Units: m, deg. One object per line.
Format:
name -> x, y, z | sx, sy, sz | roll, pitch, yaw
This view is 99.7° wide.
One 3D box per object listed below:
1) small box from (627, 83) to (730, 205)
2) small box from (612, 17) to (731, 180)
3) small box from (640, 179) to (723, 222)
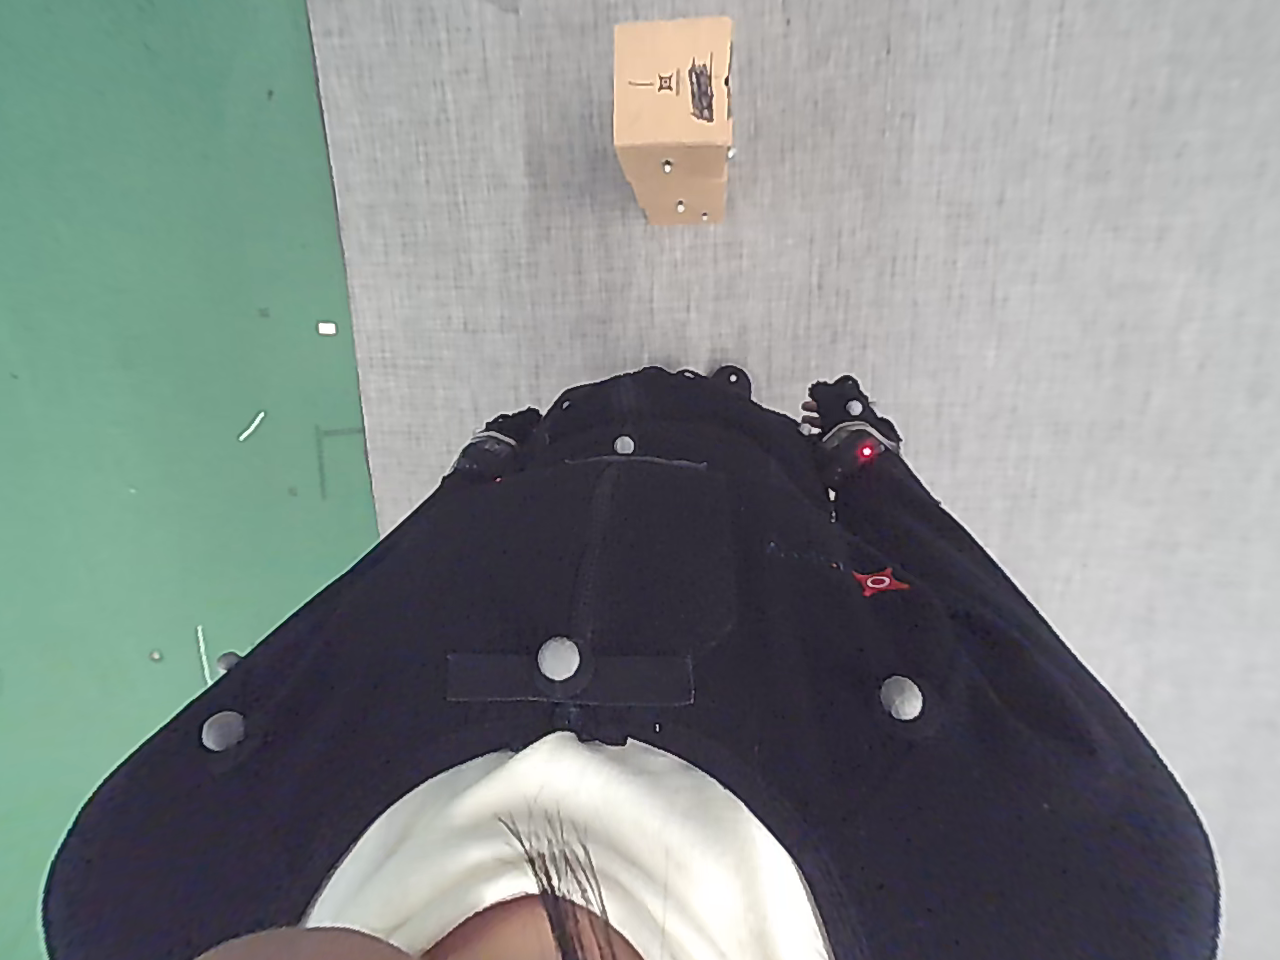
small box -> 0.075, -0.642, 1.043 | 0.179, 0.176, 0.168 | 4, 103, 5
small box -> 0.052, -0.608, 0.883 | 0.179, 0.176, 0.168 | 0, 103, 6
small box -> 0.094, -0.683, 1.200 | 0.179, 0.176, 0.168 | 1, 102, 8
